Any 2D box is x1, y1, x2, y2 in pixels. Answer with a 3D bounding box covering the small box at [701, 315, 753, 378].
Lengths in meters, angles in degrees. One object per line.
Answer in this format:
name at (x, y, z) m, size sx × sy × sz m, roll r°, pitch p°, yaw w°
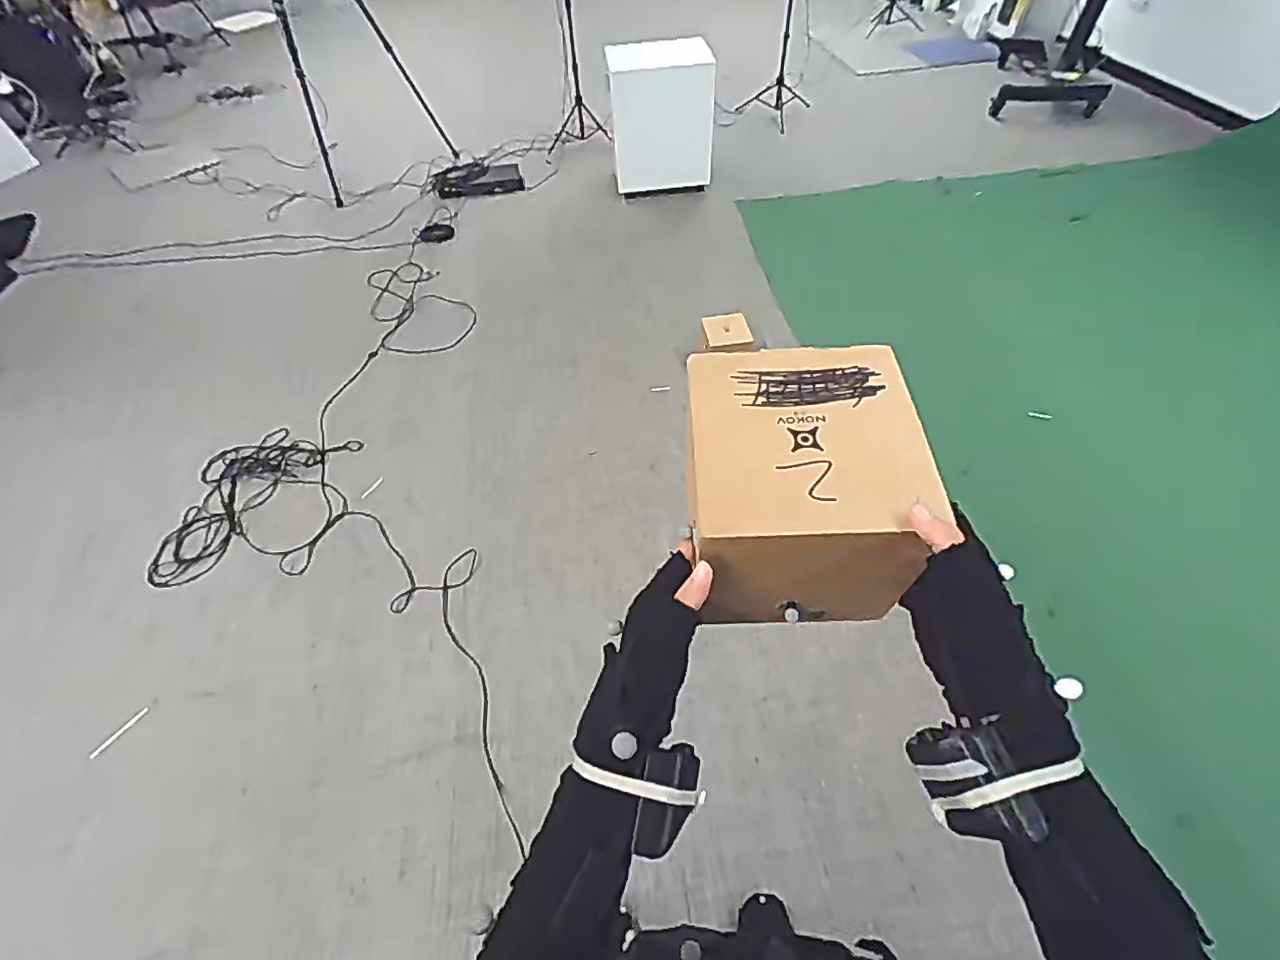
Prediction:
small box at (0.334, -0.512, 2.104) m, size 0.168 × 0.176 × 0.179 m, roll -7°, pitch 53°, yaw -3°
